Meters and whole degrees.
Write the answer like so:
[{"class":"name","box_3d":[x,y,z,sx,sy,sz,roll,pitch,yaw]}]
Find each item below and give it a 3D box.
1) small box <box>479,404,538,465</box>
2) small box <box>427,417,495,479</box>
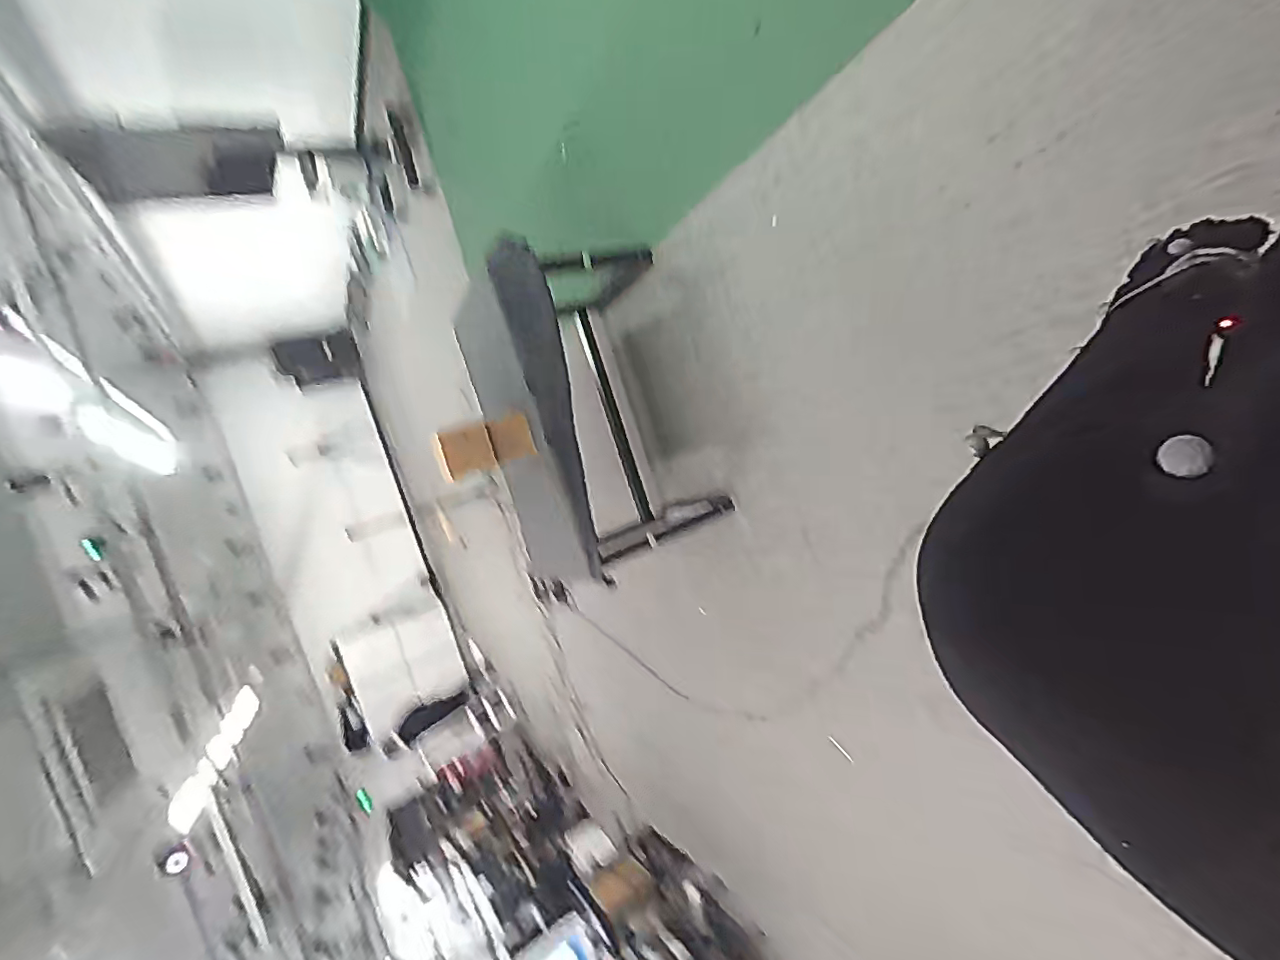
[{"class":"small box","box_3d":[-0.503,-0.170,2.041,0.168,0.176,0.179,-15,93,62]},{"class":"small box","box_3d":[-0.637,-0.119,1.927,0.168,0.176,0.179,-17,92,61]}]
